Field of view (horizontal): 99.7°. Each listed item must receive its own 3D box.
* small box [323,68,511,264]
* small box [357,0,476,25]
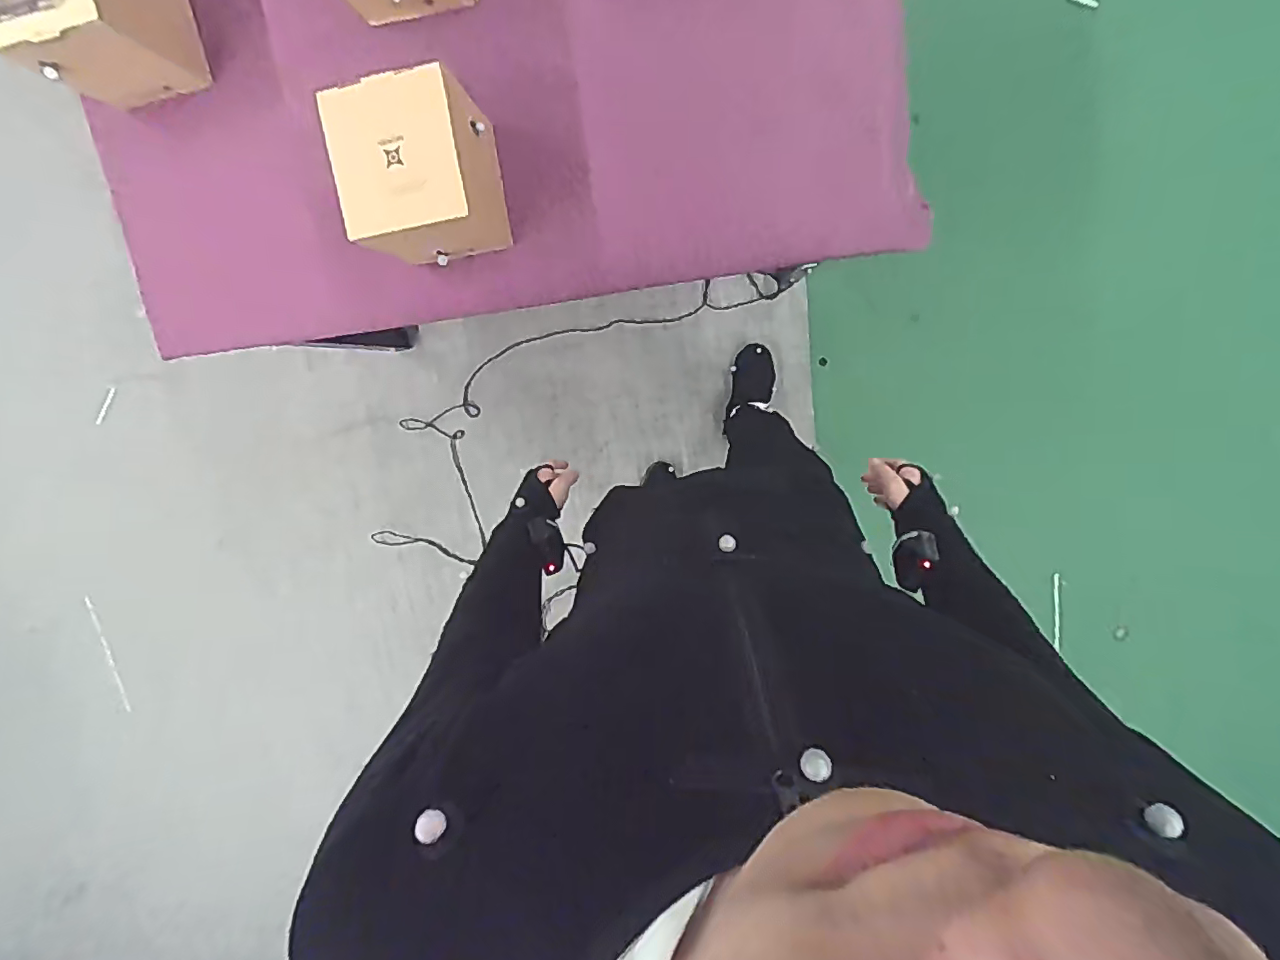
[{"bbox_3d":[-0.296,-0.420,0.754,0.168,0.176,0.179,-6,101,9],"label":"small box"},{"bbox_3d":[-0.327,-0.738,0.689,0.168,0.176,0.179,-5,104,7],"label":"small box"}]
